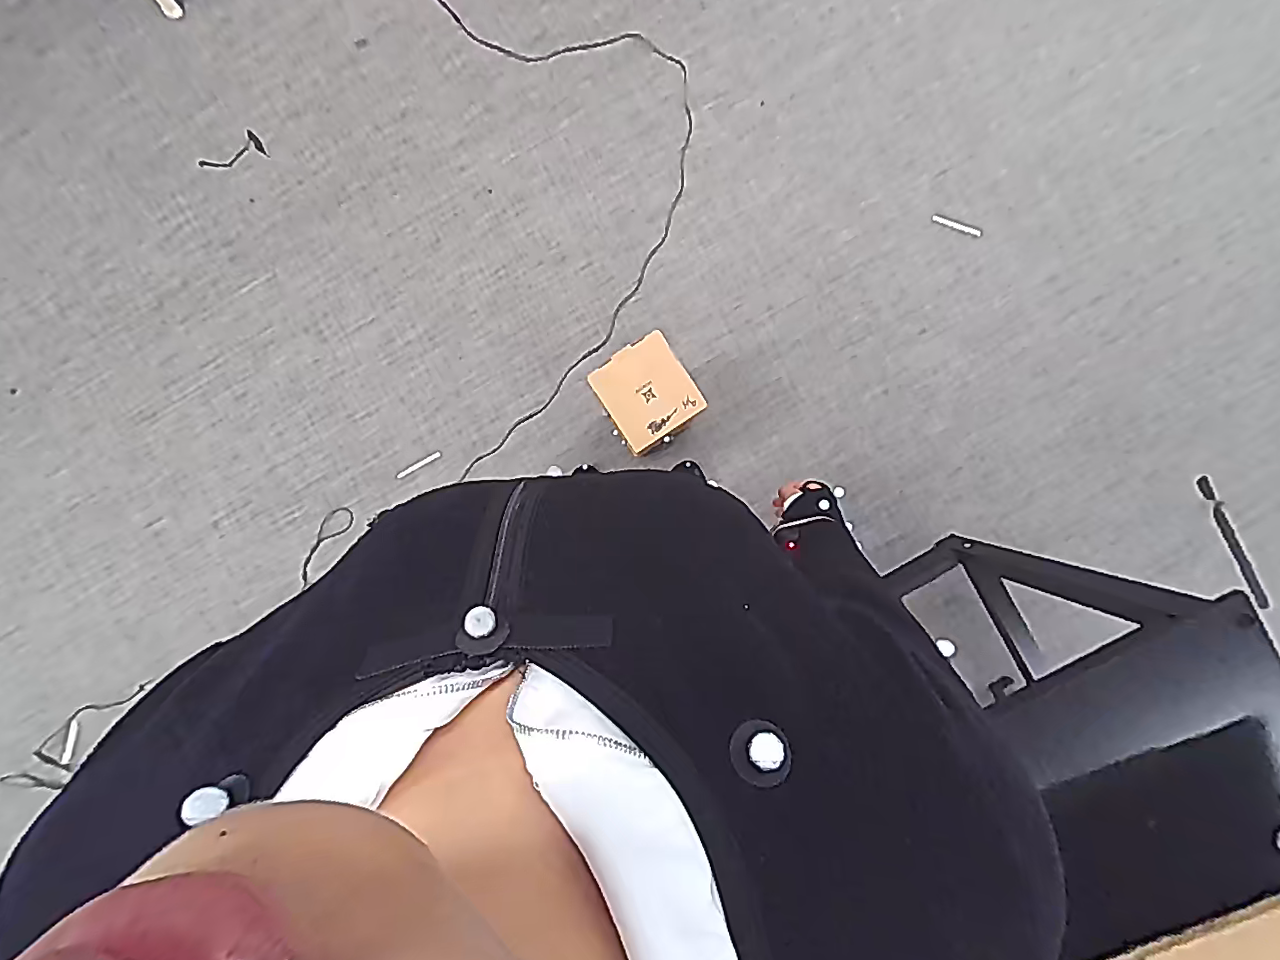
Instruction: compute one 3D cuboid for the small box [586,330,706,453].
[{"bbox_3d":[0.012,-0.166,1.088,0.168,0.176,0.179,-33,91,2],"label":"small box"}]
